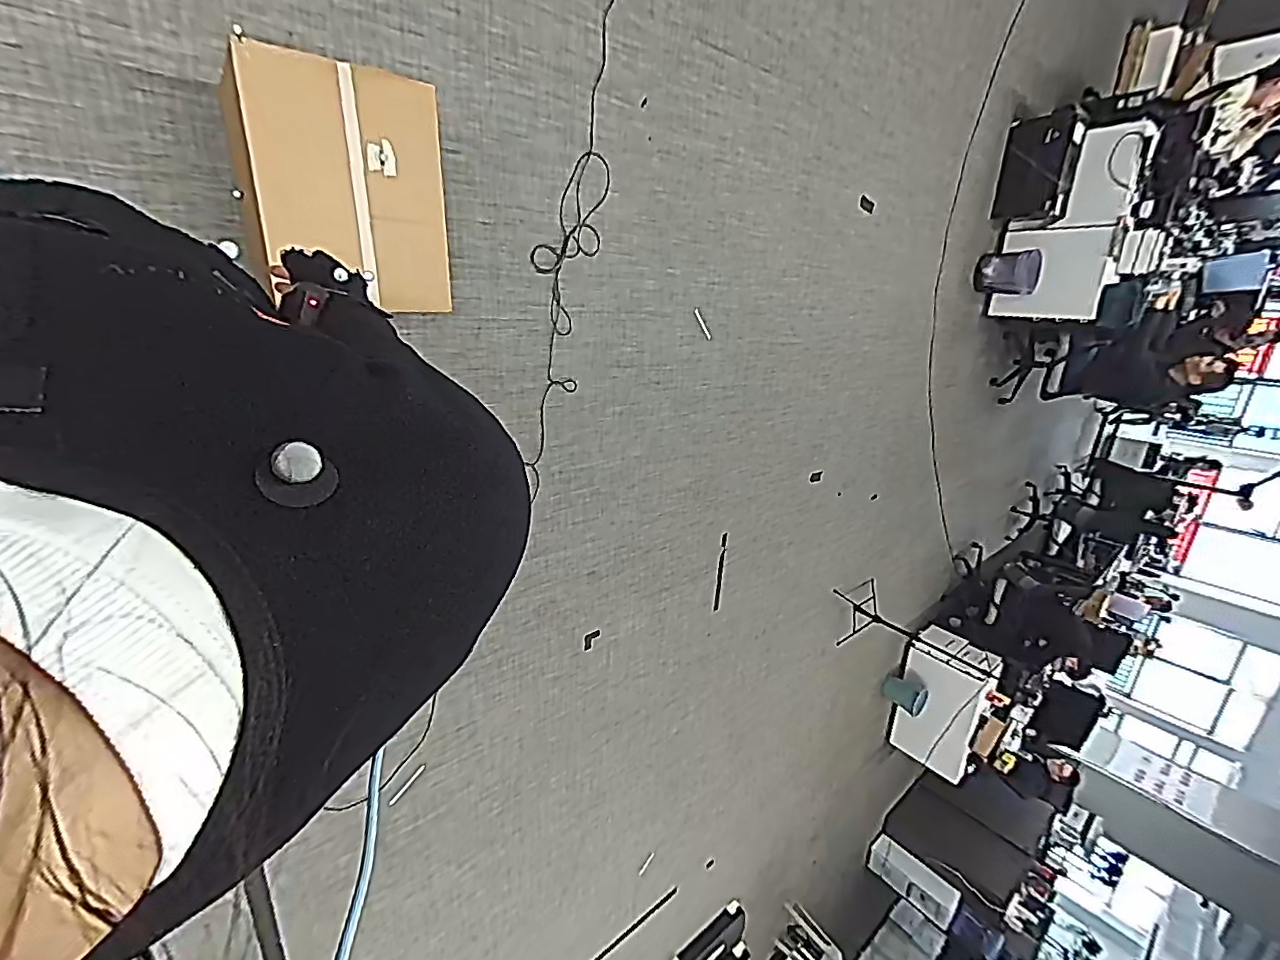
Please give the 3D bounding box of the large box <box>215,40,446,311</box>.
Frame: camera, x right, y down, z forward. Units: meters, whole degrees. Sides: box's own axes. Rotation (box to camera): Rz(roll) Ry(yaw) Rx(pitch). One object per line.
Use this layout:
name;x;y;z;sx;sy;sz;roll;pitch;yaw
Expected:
large box;-0.618;-0.557;1.093;0.320;0.320;0.408;-14;114;-39
